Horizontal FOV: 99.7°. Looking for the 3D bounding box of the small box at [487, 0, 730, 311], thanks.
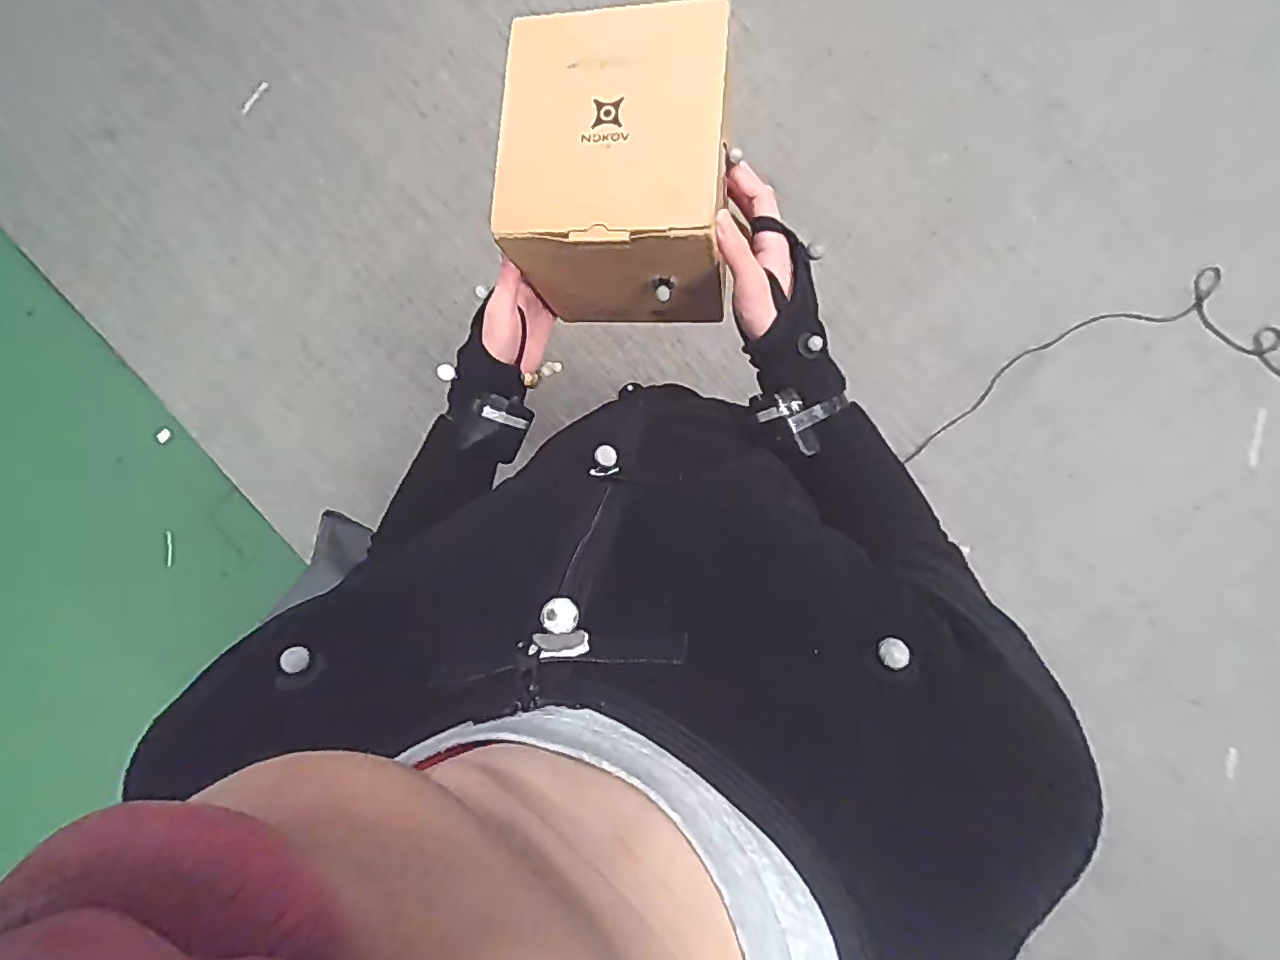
[{"bbox_3d":[-0.012,-0.256,0.462,0.168,0.176,0.179,3,85,10],"label":"small box"}]
